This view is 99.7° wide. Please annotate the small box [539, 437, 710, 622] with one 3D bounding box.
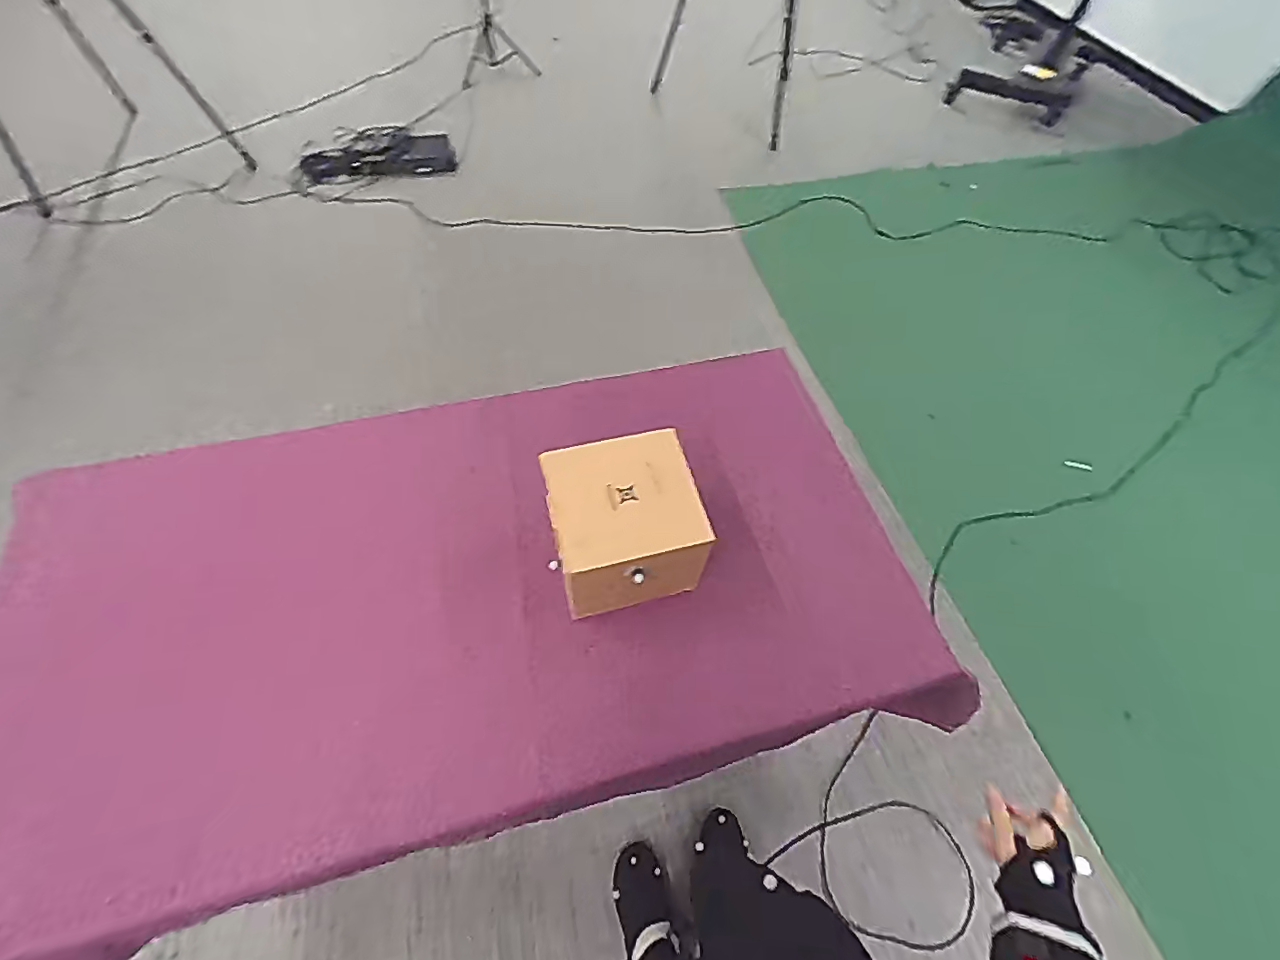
[{"bbox_3d":[-0.025,0.070,0.712,0.179,0.176,0.168,-12,59,-11],"label":"small box"}]
